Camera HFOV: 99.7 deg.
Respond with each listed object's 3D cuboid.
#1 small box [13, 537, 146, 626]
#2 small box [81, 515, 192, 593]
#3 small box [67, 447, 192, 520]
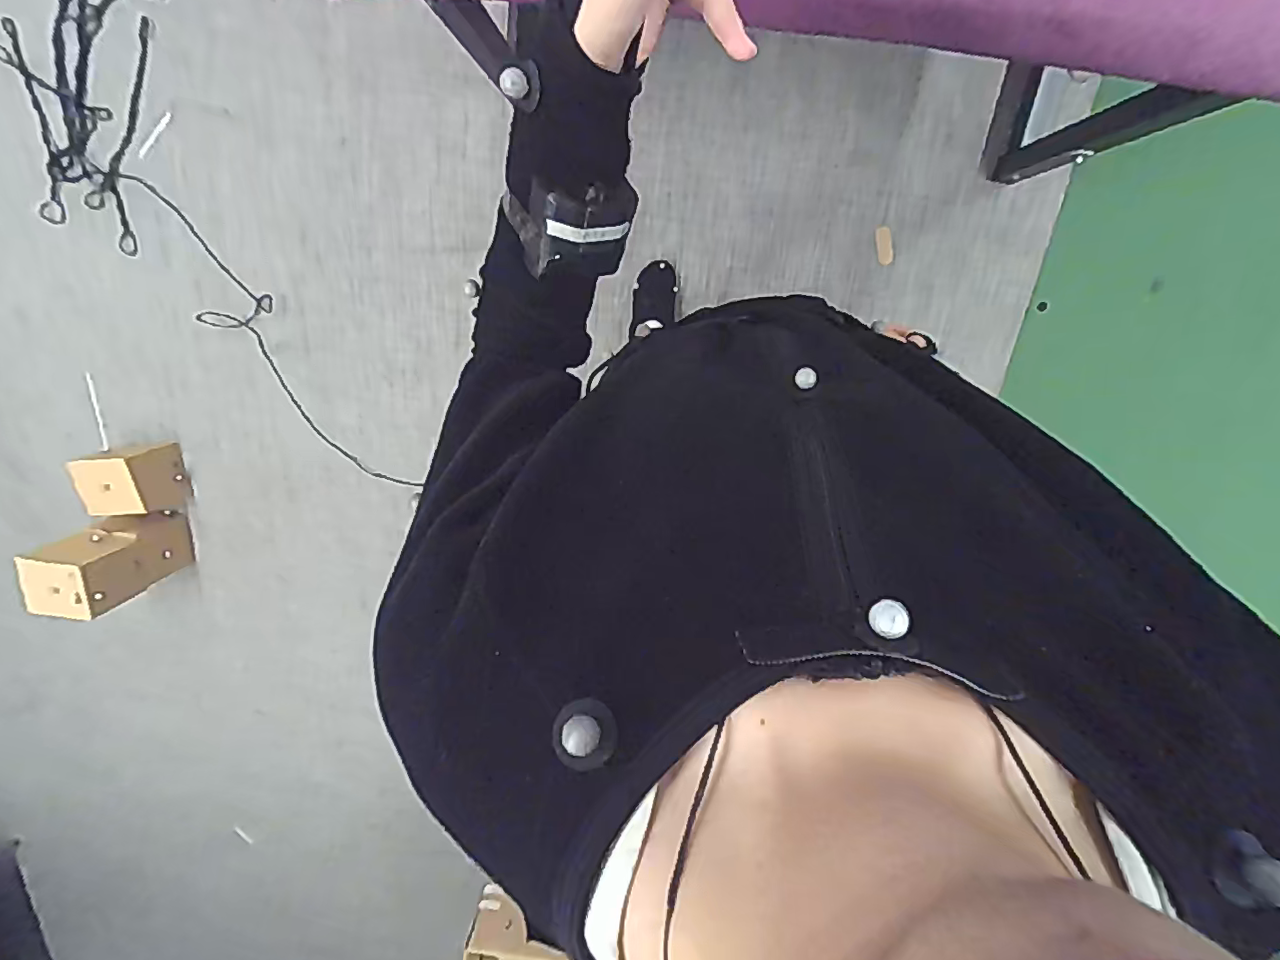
[{"bbox_3d":[-1.509,0.269,1.467,0.179,0.176,0.168,9,109,2],"label":"small box"},{"bbox_3d":[-1.498,0.212,1.620,0.168,0.176,0.179,7,109,2],"label":"small box"},{"bbox_3d":[-1.454,0.007,1.552,0.179,0.176,0.168,-2,109,4],"label":"small box"}]
